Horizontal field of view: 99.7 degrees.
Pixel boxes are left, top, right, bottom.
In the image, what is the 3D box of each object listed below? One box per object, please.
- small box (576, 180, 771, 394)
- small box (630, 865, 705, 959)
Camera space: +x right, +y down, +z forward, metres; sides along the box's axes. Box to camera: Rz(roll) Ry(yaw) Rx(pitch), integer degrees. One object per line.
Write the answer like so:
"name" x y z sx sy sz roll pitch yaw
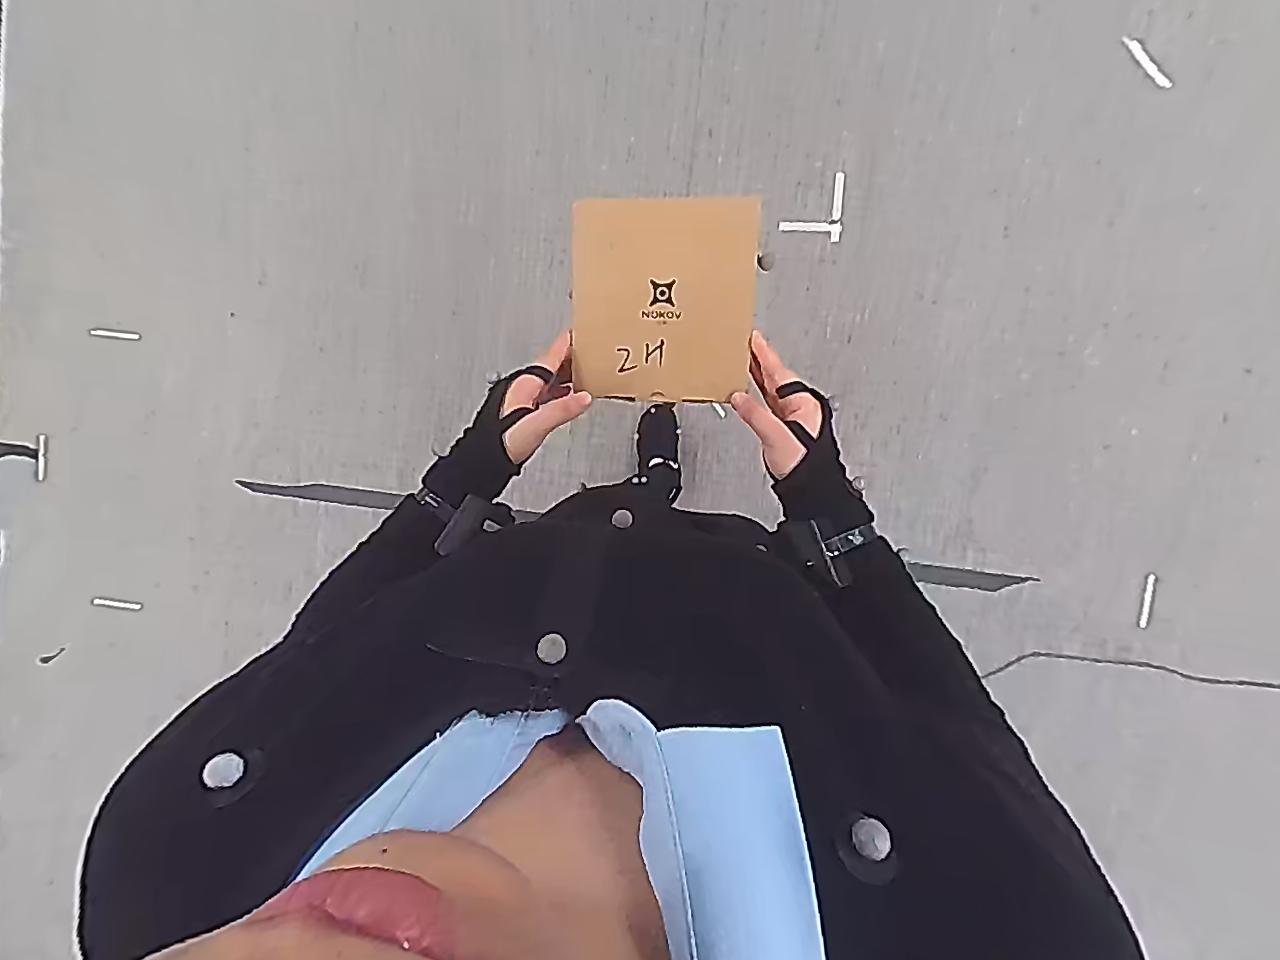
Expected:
"small box" 0.035 -0.185 0.549 0.168 0.176 0.179 4 105 8
"small box" 0.066 1.047 1.257 0.168 0.176 0.179 1 93 5
